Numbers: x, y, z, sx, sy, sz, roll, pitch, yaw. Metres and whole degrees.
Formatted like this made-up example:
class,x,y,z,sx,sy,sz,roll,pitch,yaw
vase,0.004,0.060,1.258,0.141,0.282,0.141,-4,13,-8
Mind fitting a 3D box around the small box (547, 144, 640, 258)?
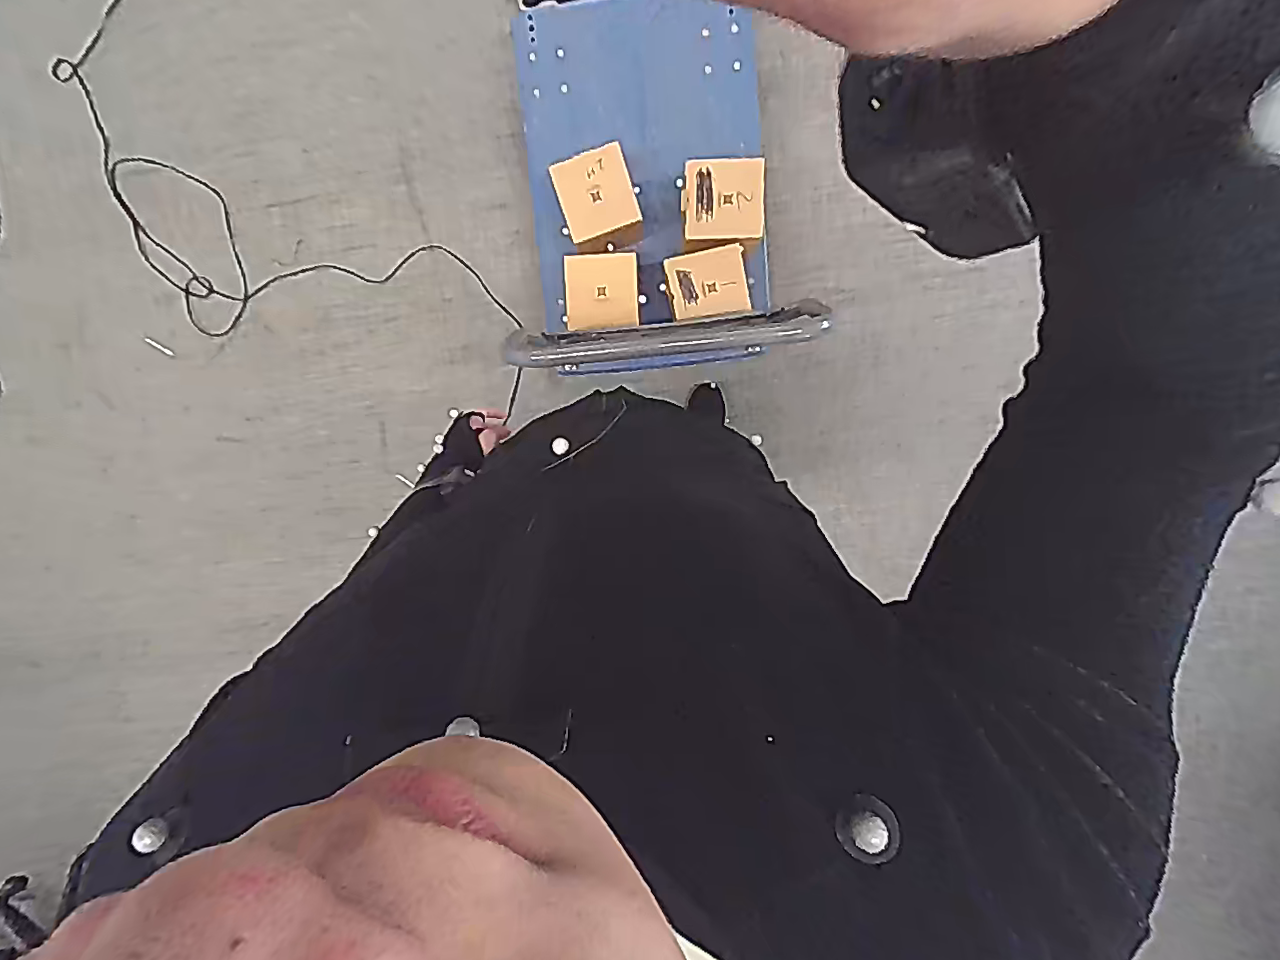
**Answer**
class,x,y,z,sx,sy,sz,roll,pitch,yaw
small box,-0.100,-0.642,1.274,0.168,0.176,0.179,-18,98,4
